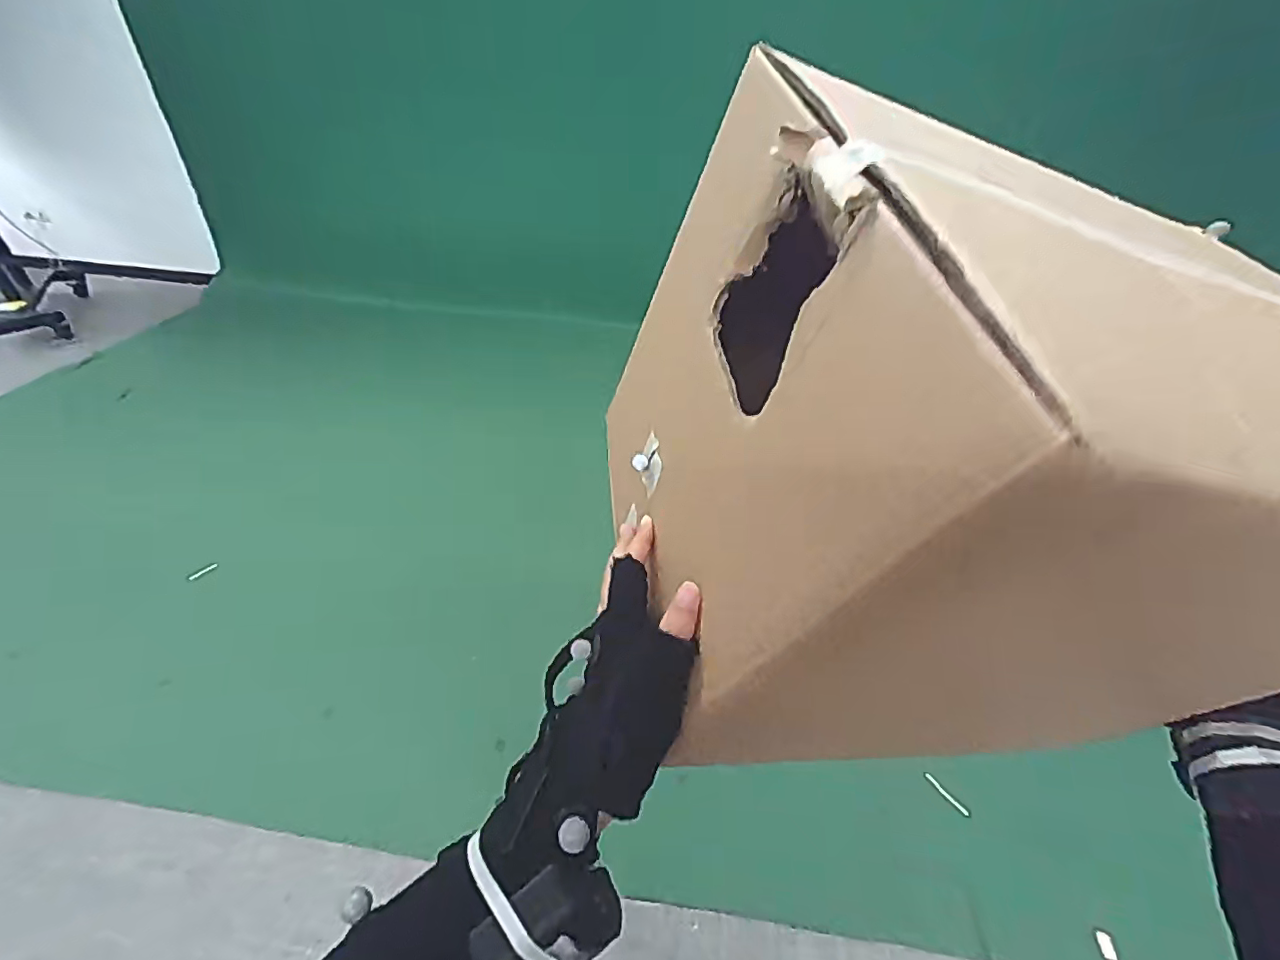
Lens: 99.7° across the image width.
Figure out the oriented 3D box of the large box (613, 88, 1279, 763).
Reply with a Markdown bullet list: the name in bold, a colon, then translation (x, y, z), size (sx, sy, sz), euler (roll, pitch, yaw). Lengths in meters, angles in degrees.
- **large box**: translation (0.222, -0.003, 0.399), size (0.408, 0.320, 0.320), euler (8, 50, -18)
